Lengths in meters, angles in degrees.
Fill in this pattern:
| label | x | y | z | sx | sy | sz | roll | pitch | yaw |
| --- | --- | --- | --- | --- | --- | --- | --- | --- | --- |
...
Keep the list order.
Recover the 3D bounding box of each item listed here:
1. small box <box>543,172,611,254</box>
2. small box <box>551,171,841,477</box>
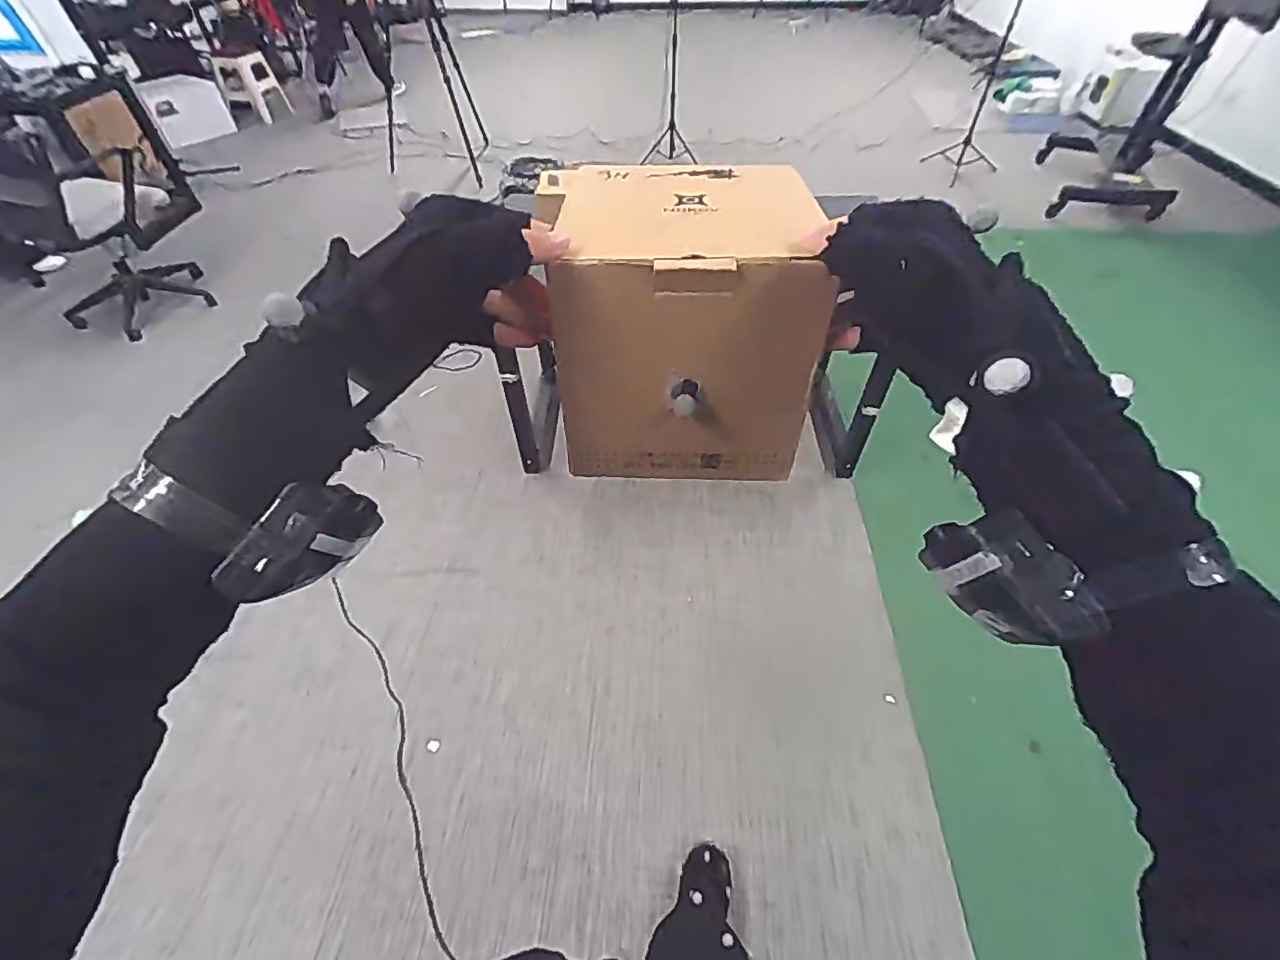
| label | x | y | z | sx | sy | sz | roll | pitch | yaw |
| --- | --- | --- | --- | --- | --- | --- | --- | --- | --- |
| small box | -0.166 | -0.742 | 1.514 | 0.179 | 0.176 | 0.168 | 0 | 49 | 0 |
| small box | 0.037 | -0.117 | 0.414 | 0.168 | 0.176 | 0.179 | 2 | 45 | 2 |
